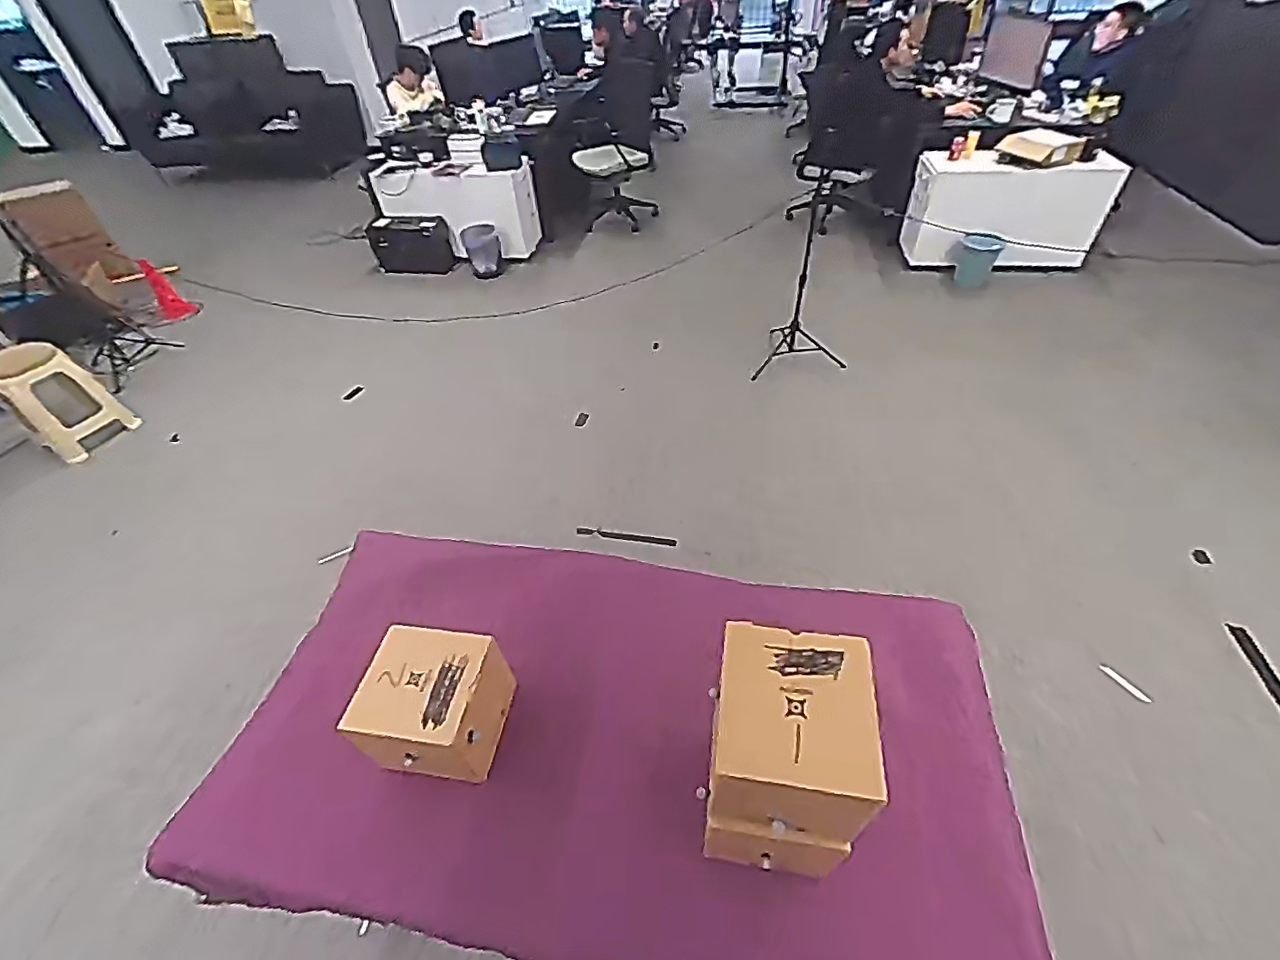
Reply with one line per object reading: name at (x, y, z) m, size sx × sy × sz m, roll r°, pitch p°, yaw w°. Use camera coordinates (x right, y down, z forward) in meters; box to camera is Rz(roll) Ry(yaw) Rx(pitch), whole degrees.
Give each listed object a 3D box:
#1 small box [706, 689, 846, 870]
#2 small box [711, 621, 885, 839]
small box at (0.182, 0.419, 0.757) m, size 0.168 × 0.176 × 0.179 m, roll 5°, pitch 46°, yaw 9°
small box at (0.176, 0.297, 0.646) m, size 0.168 × 0.176 × 0.179 m, roll 5°, pitch 46°, yaw 10°
